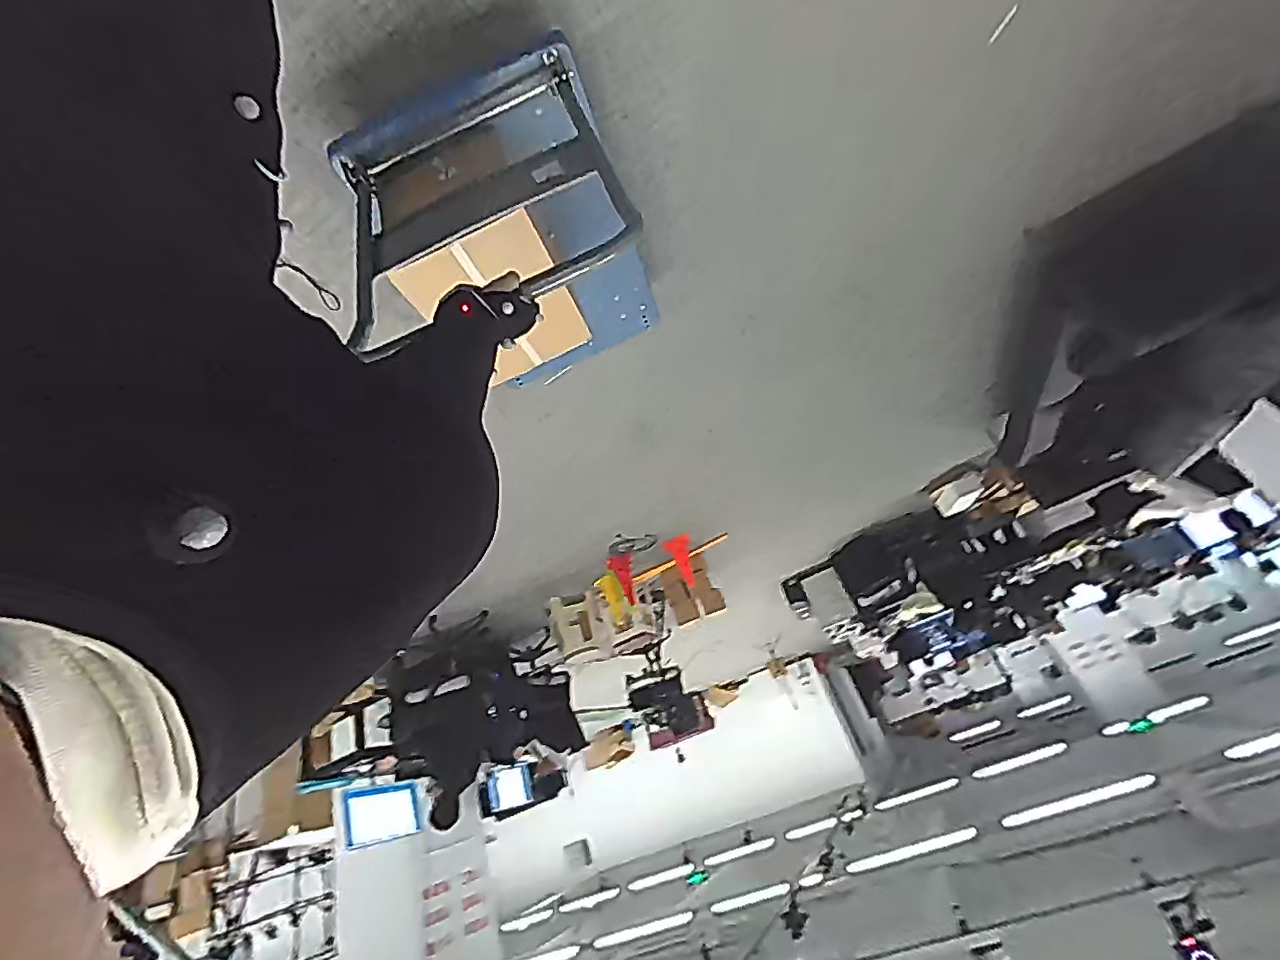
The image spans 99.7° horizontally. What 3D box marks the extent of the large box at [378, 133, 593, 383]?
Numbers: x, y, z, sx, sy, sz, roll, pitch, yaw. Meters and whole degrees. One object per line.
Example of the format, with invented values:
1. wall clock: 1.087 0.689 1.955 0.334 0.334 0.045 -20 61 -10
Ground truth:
1. large box: -0.364 -0.519 1.319 0.320 0.320 0.408 -24 151 5
